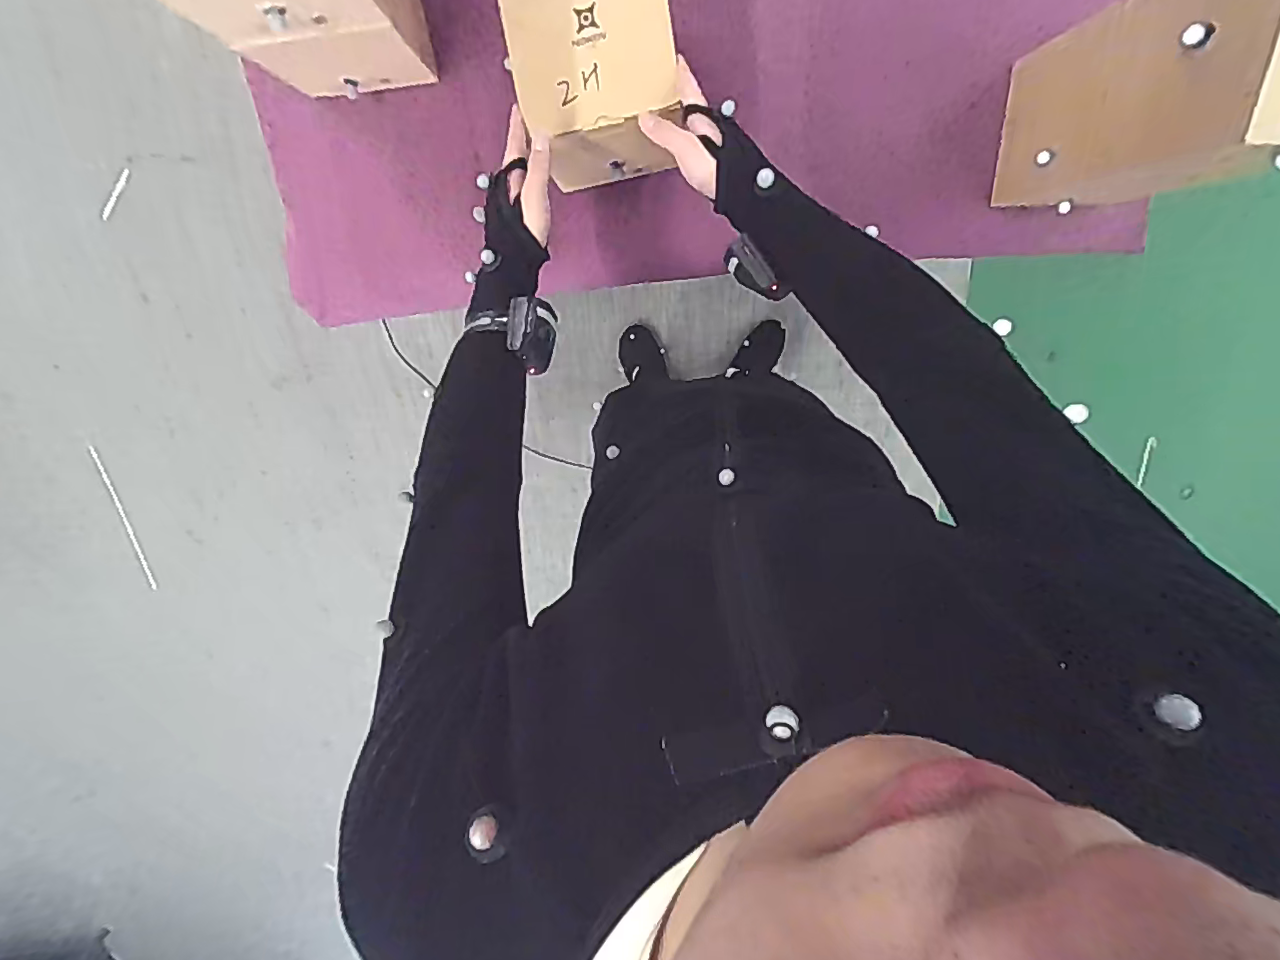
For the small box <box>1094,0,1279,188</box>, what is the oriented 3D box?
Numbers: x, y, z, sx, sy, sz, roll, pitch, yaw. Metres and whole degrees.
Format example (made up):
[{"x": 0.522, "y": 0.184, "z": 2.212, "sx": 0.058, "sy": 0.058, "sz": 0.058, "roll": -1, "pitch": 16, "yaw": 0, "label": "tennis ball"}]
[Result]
[{"x": 0.587, "y": -0.393, "z": 0.513, "sx": 0.168, "sy": 0.176, "sz": 0.179, "roll": -2, "pitch": 108, "yaw": -1, "label": "small box"}]

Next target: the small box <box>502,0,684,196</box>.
[{"x": -0.043, "y": -0.455, "z": 0.614, "sx": 0.168, "sy": 0.176, "sz": 0.179, "roll": -8, "pitch": 100, "yaw": 8, "label": "small box"}]

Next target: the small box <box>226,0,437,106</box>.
[{"x": -0.345, "y": -0.547, "z": 0.595, "sx": 0.168, "sy": 0.176, "sz": 0.179, "roll": -8, "pitch": 110, "yaw": 0, "label": "small box"}]

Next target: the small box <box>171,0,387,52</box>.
[{"x": -0.337, "y": -0.495, "z": 0.440, "sx": 0.168, "sy": 0.176, "sz": 0.179, "roll": -8, "pitch": 110, "yaw": 1, "label": "small box"}]
